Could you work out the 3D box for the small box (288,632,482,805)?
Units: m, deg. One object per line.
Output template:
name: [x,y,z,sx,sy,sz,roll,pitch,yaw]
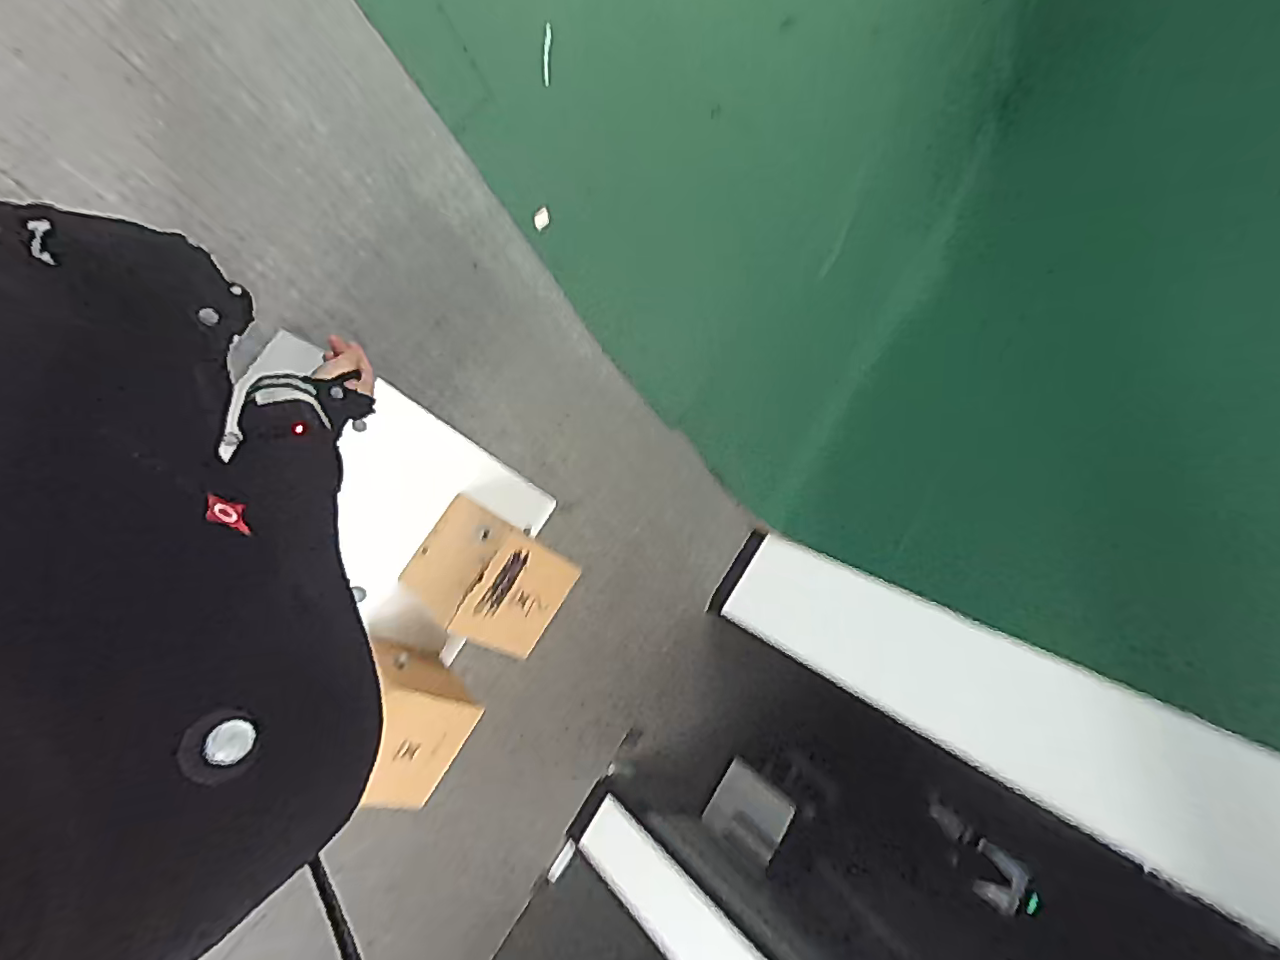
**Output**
small box: [-0.384,0.353,0.813,0.168,0.176,0.179,-57,139,-9]
